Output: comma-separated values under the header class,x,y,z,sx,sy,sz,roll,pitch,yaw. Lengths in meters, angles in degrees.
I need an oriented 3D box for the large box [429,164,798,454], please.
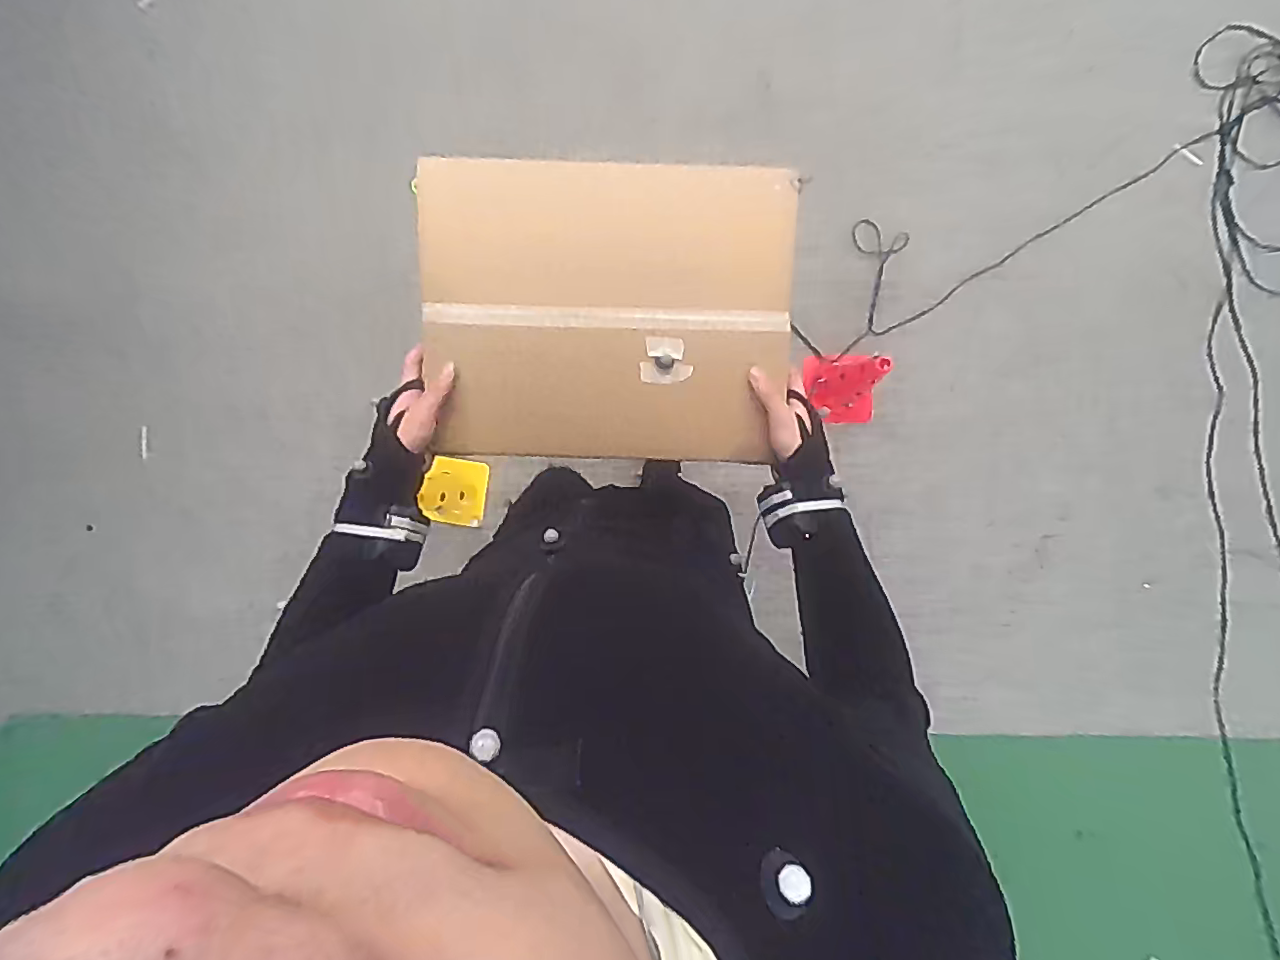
class,x,y,z,sx,sy,sz,roll,pitch,yaw
large box,-0.032,-0.209,0.750,0.408,0.320,0.320,1,101,-1
